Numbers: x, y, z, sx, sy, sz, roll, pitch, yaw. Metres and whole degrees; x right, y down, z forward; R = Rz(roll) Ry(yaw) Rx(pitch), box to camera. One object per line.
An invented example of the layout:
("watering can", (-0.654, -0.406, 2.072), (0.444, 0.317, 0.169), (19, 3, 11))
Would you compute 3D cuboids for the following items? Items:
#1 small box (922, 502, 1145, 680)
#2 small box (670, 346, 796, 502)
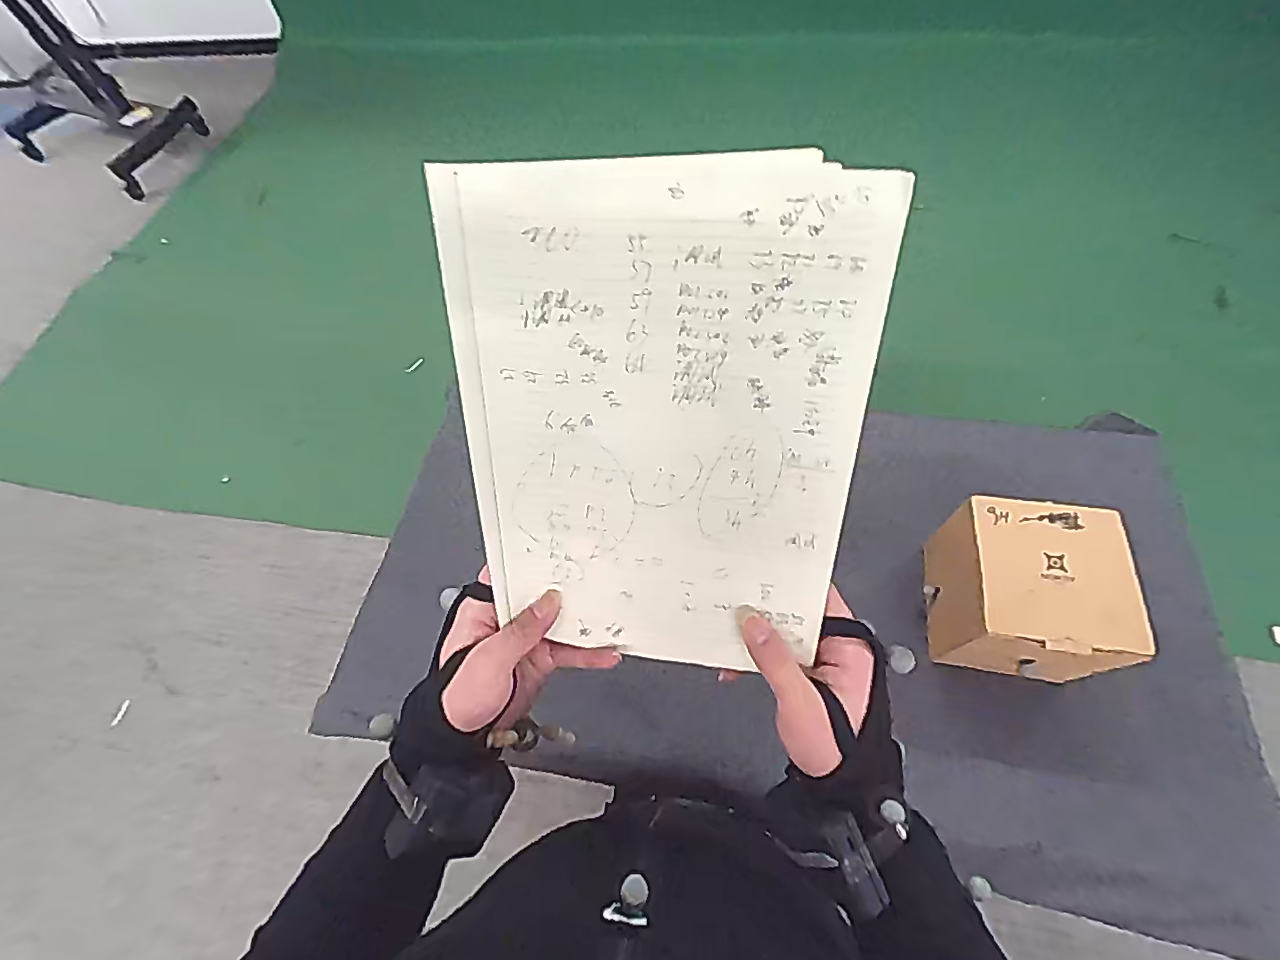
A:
("small box", (0.480, 0.149, 0.693), (0.168, 0.176, 0.179), (7, 64, 9))
("small box", (0.142, -0.081, 0.836), (0.168, 0.176, 0.179), (6, 62, 8))
